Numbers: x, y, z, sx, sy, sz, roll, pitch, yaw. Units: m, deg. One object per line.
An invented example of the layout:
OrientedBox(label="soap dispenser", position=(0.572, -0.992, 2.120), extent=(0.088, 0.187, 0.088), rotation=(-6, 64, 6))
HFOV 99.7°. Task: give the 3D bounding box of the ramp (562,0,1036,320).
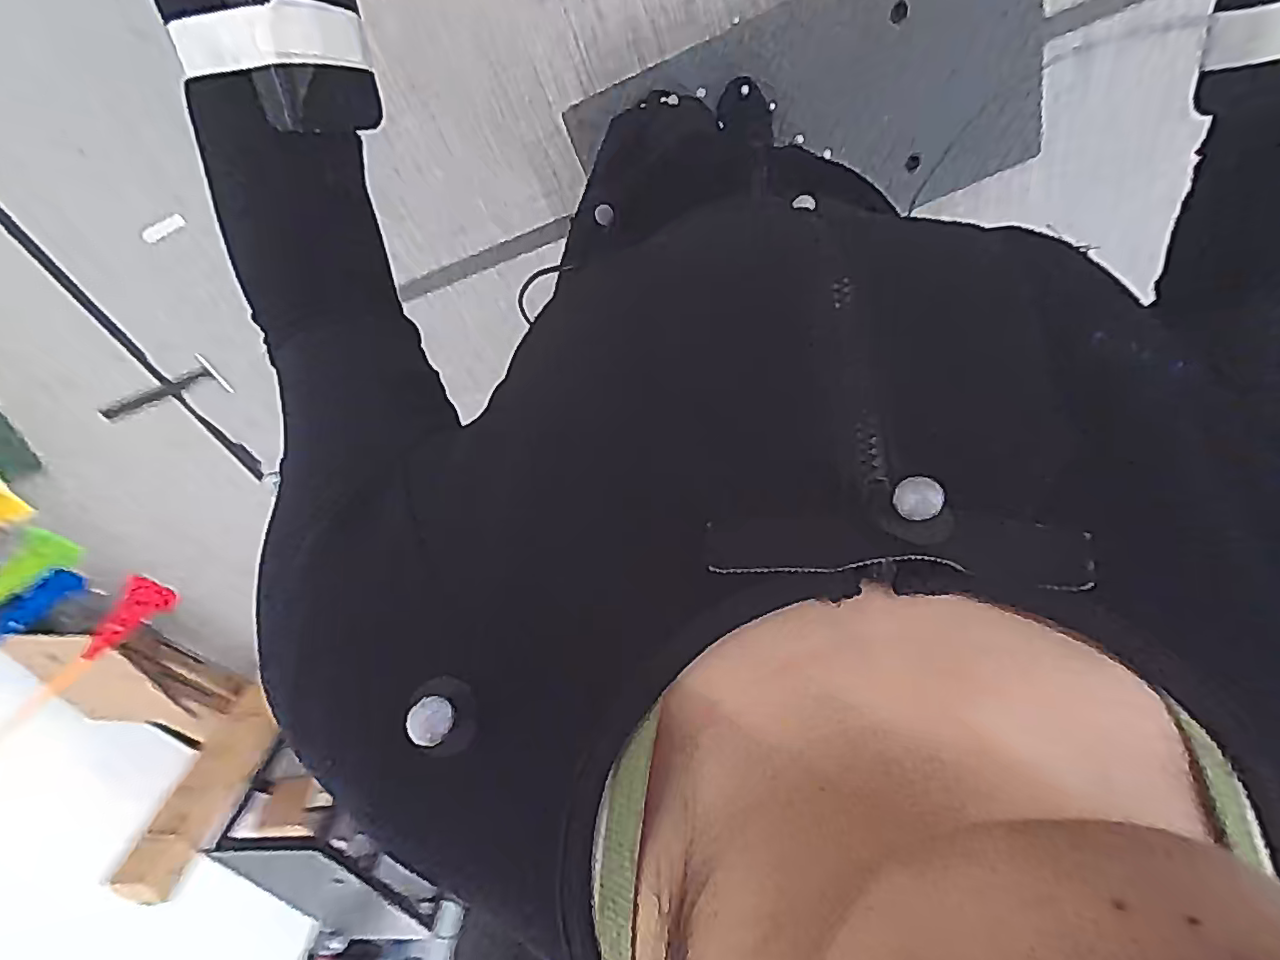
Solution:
OrientedBox(label="ramp", position=(0.378, -0.779, 1.208), extent=(0.991, 0.206, 0.509), rotation=(-17, 123, 17))
